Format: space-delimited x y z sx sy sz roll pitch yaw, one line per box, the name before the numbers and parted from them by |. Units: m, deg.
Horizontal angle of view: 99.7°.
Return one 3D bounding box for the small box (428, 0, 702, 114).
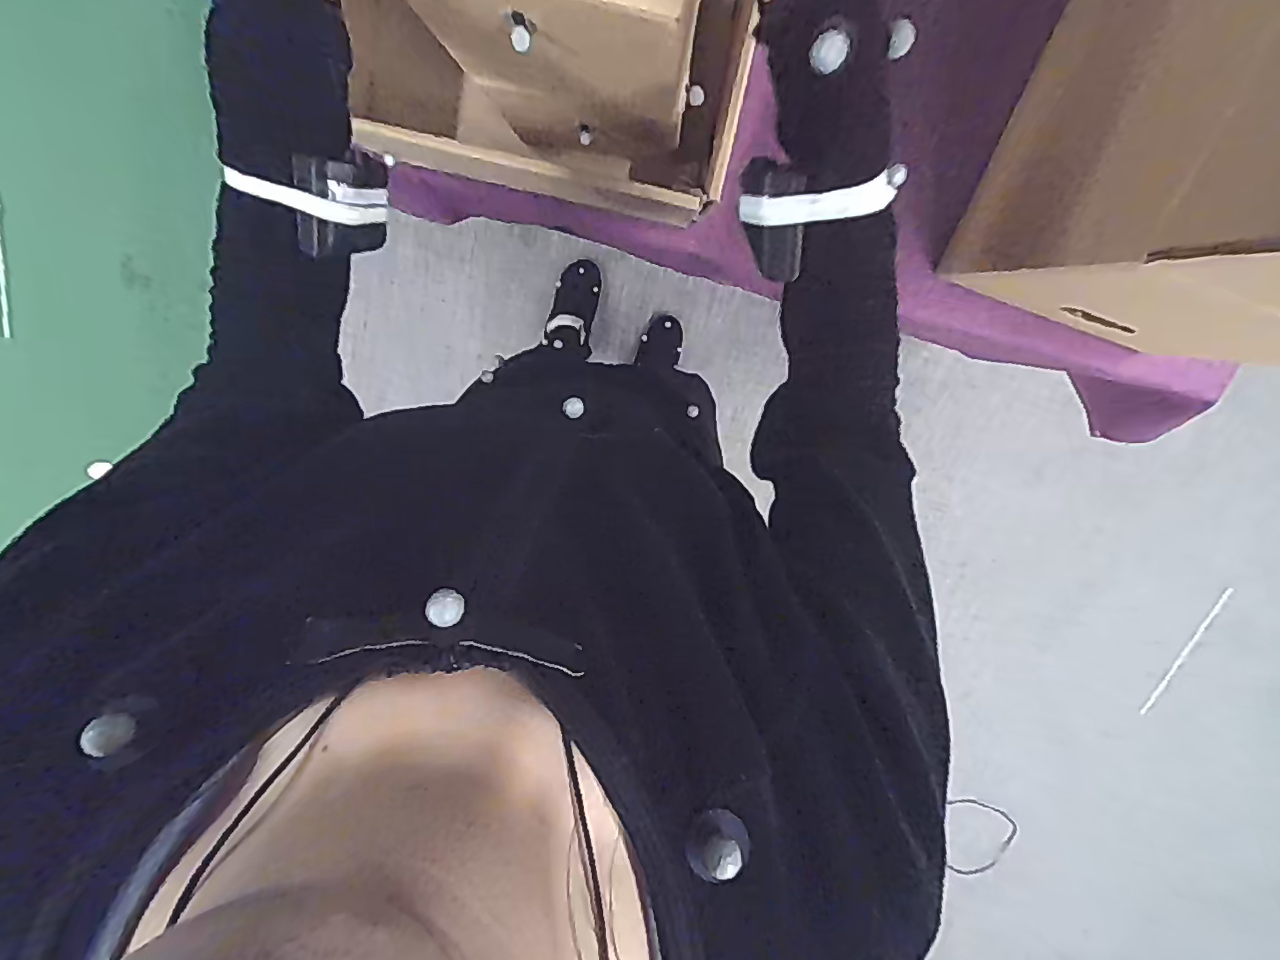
small box | -0.042 -0.363 0.341 0.179 0.176 0.168 13 109 -2
